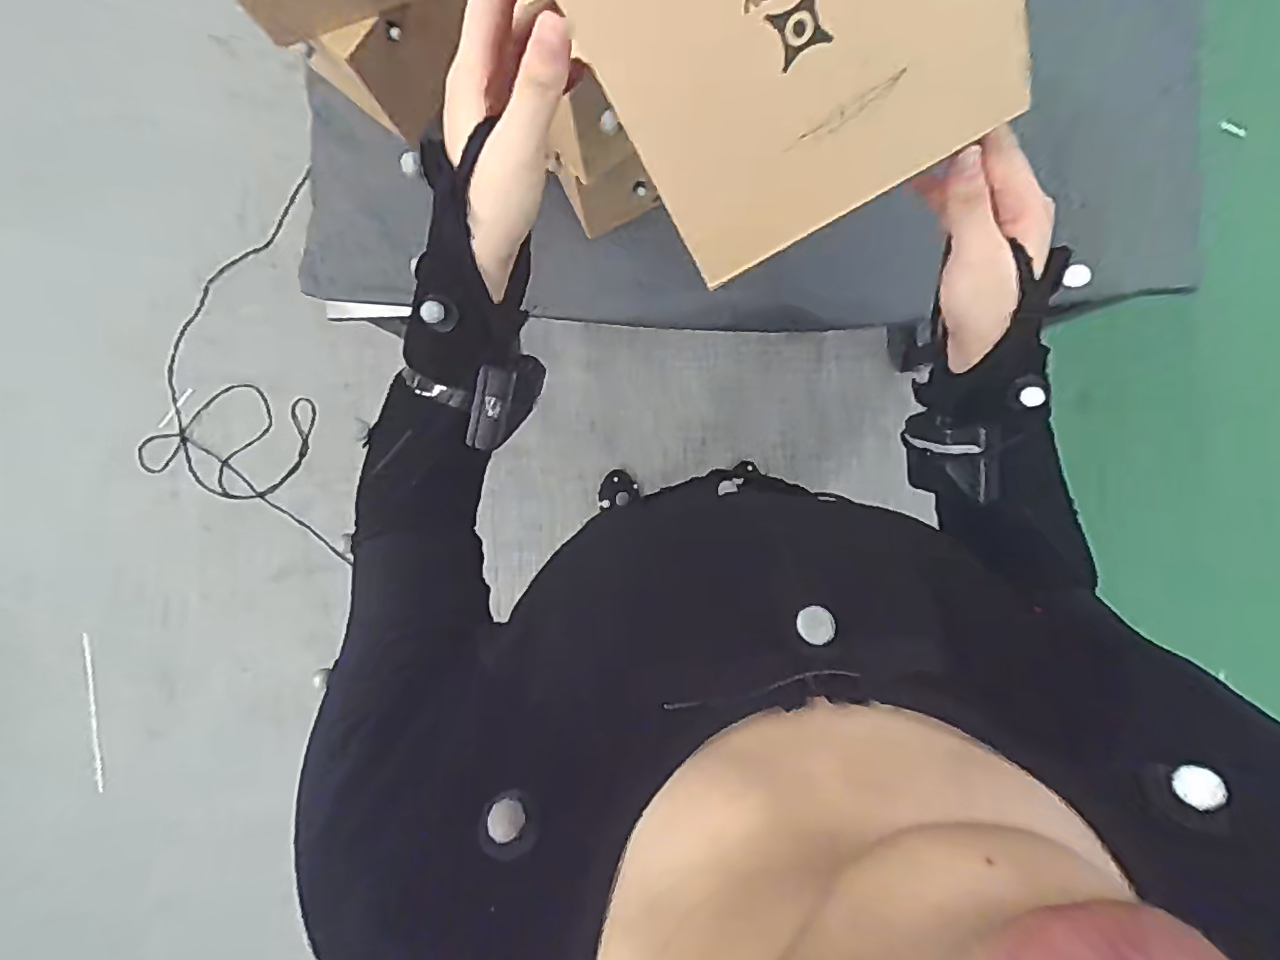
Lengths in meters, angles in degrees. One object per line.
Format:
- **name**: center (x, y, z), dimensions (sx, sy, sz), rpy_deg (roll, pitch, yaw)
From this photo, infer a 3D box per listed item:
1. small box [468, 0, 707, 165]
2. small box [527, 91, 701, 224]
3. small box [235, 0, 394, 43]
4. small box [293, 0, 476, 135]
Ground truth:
- **small box**: center (-0.048, -0.434, 0.501), dimensions (0.168, 0.176, 0.179), rpy_deg (-37, 90, 2)
- **small box**: center (-0.039, -0.446, 0.663), dimensions (0.168, 0.176, 0.179), rpy_deg (-26, 91, 1)
- **small box**: center (-0.342, -0.569, 0.501), dimensions (0.179, 0.176, 0.168), rpy_deg (-20, 92, 2)
- **small box**: center (-0.338, -0.580, 0.666), dimensions (0.179, 0.176, 0.168), rpy_deg (39, 92, -1)
